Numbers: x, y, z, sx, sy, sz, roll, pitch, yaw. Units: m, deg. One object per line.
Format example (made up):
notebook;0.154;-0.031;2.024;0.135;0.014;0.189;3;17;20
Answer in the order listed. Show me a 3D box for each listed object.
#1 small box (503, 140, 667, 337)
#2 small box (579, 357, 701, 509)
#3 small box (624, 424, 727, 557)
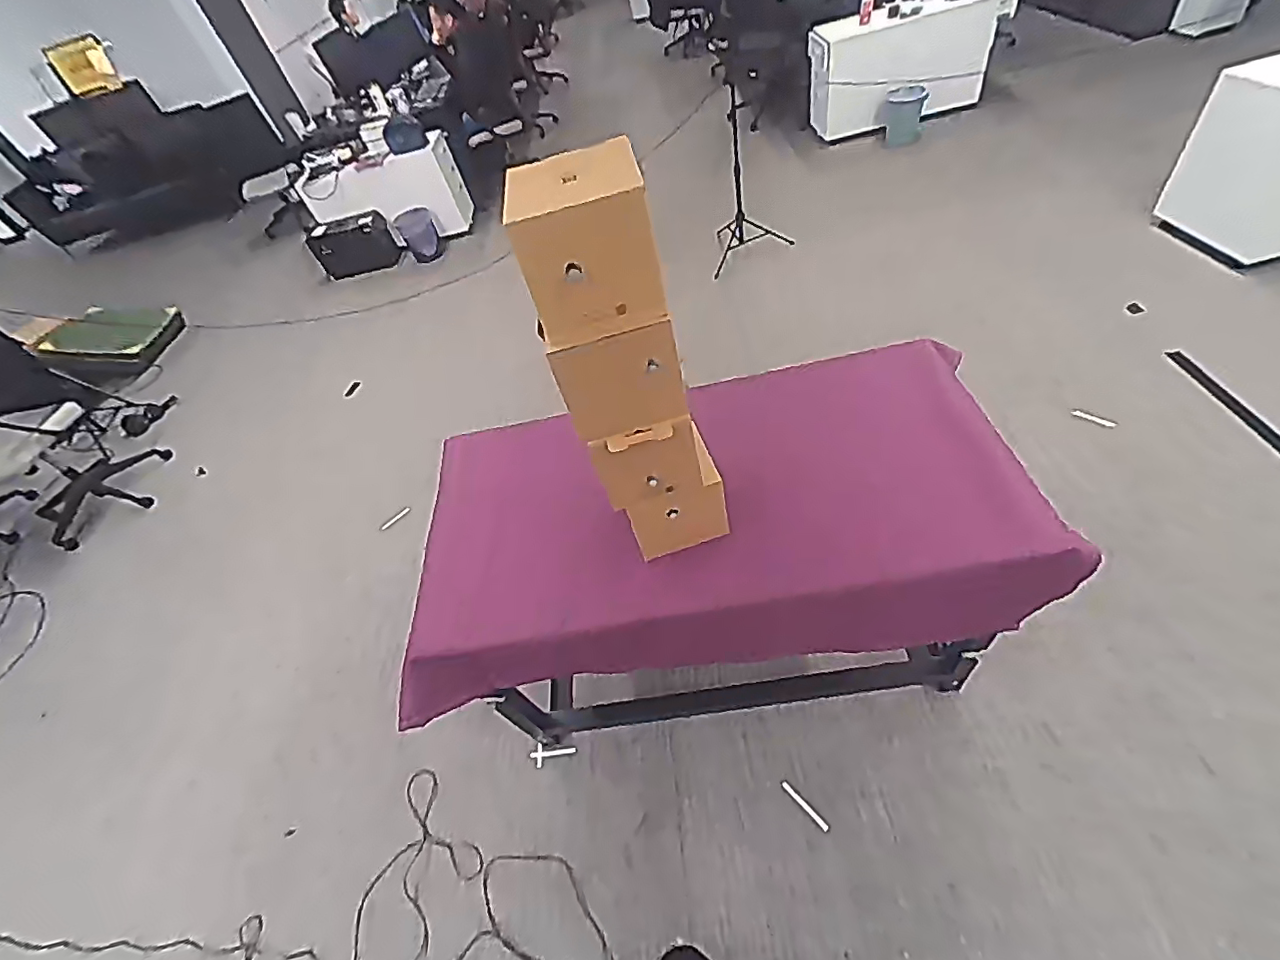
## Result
small box;-0.068;-0.306;0.709;0.168;0.176;0.179;-14;47;4
small box;0.001;-0.079;0.935;0.168;0.176;0.179;-15;48;4
small box;0.056;0.026;1.051;0.179;0.176;0.168;-18;48;-1
